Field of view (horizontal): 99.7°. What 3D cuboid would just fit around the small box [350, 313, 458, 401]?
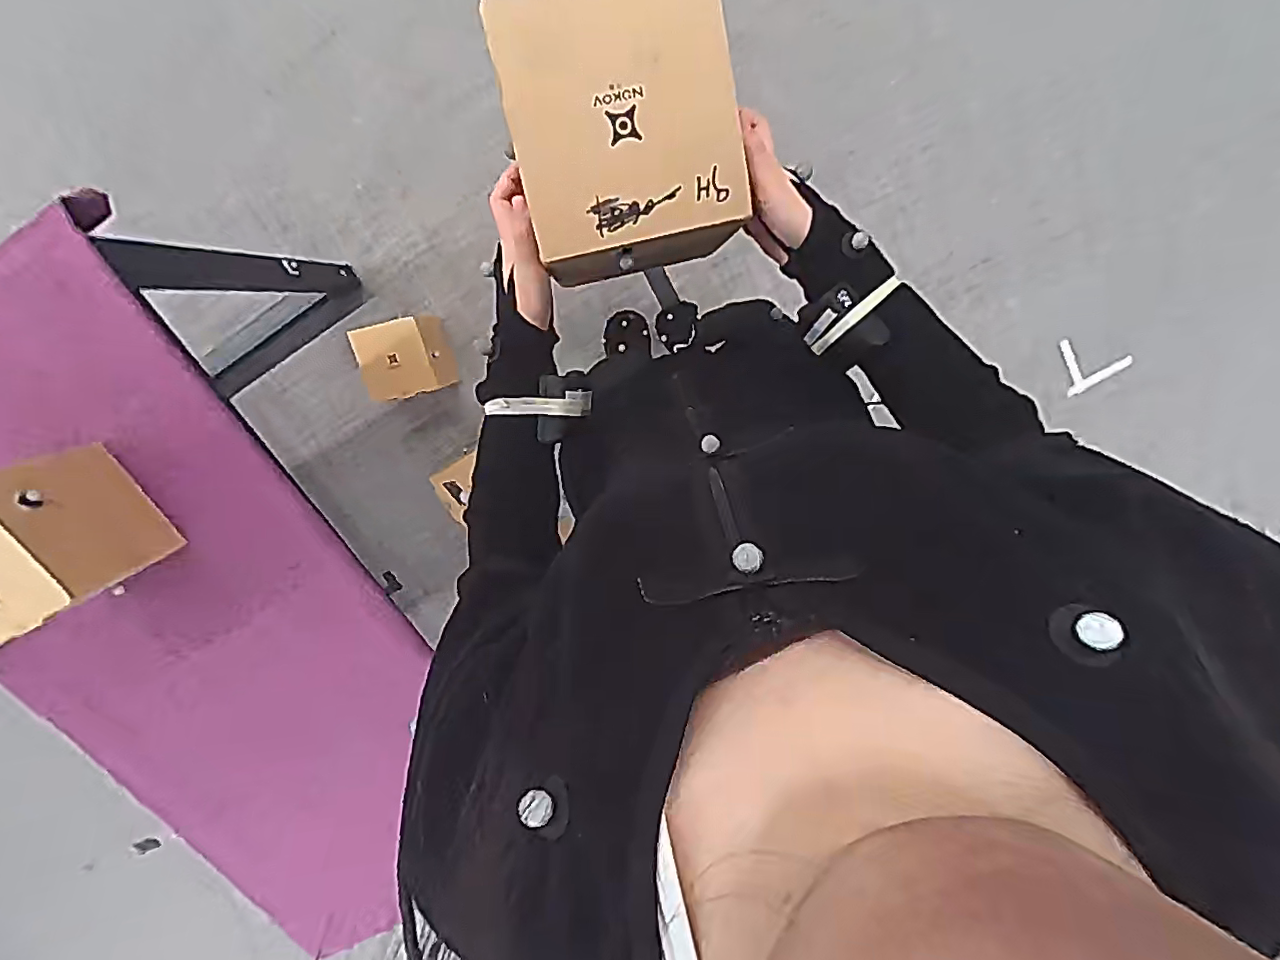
[{"bbox_3d":[-0.577,-0.311,1.347,0.168,0.176,0.179,-12,109,3],"label":"small box"}]

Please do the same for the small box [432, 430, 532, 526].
[{"bbox_3d":[-0.412,-0.010,1.445,0.179,0.176,0.168,-30,106,9],"label":"small box"}]

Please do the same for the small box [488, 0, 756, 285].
[{"bbox_3d":[-0.013,-0.280,0.462,0.168,0.176,0.179,-12,104,0],"label":"small box"}]

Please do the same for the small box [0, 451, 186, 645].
[{"bbox_3d":[-0.772,0.078,0.707,0.168,0.176,0.179,-27,107,10],"label":"small box"}]
